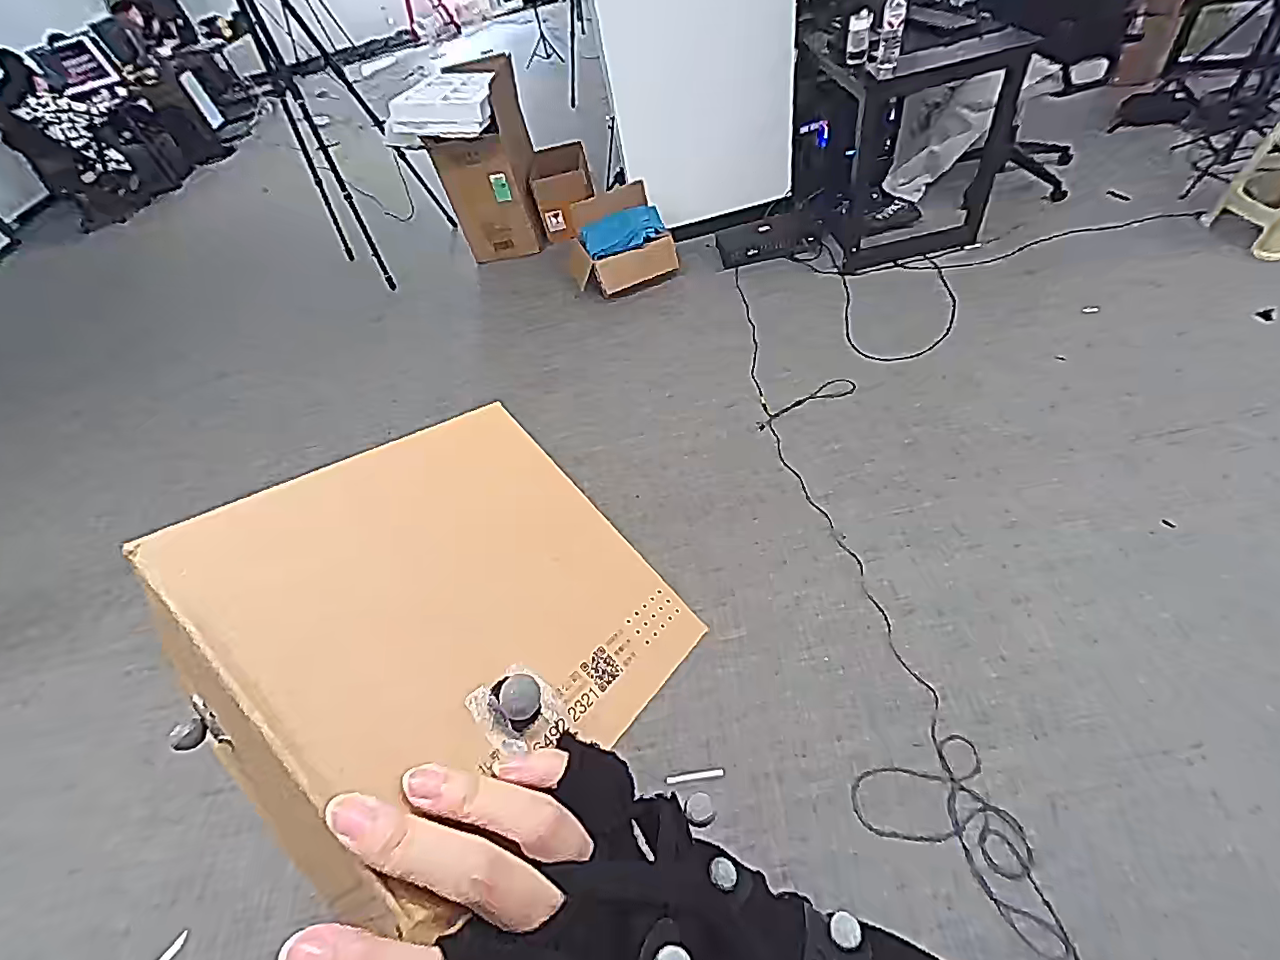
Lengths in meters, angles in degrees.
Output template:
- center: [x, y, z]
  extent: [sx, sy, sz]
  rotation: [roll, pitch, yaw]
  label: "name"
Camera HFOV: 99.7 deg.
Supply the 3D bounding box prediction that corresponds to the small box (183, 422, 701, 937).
- center: [-0.101, 0.105, 0.299]
  extent: [0.176, 0.179, 0.168]
  rotation: [46, 44, 9]
  label: "small box"
